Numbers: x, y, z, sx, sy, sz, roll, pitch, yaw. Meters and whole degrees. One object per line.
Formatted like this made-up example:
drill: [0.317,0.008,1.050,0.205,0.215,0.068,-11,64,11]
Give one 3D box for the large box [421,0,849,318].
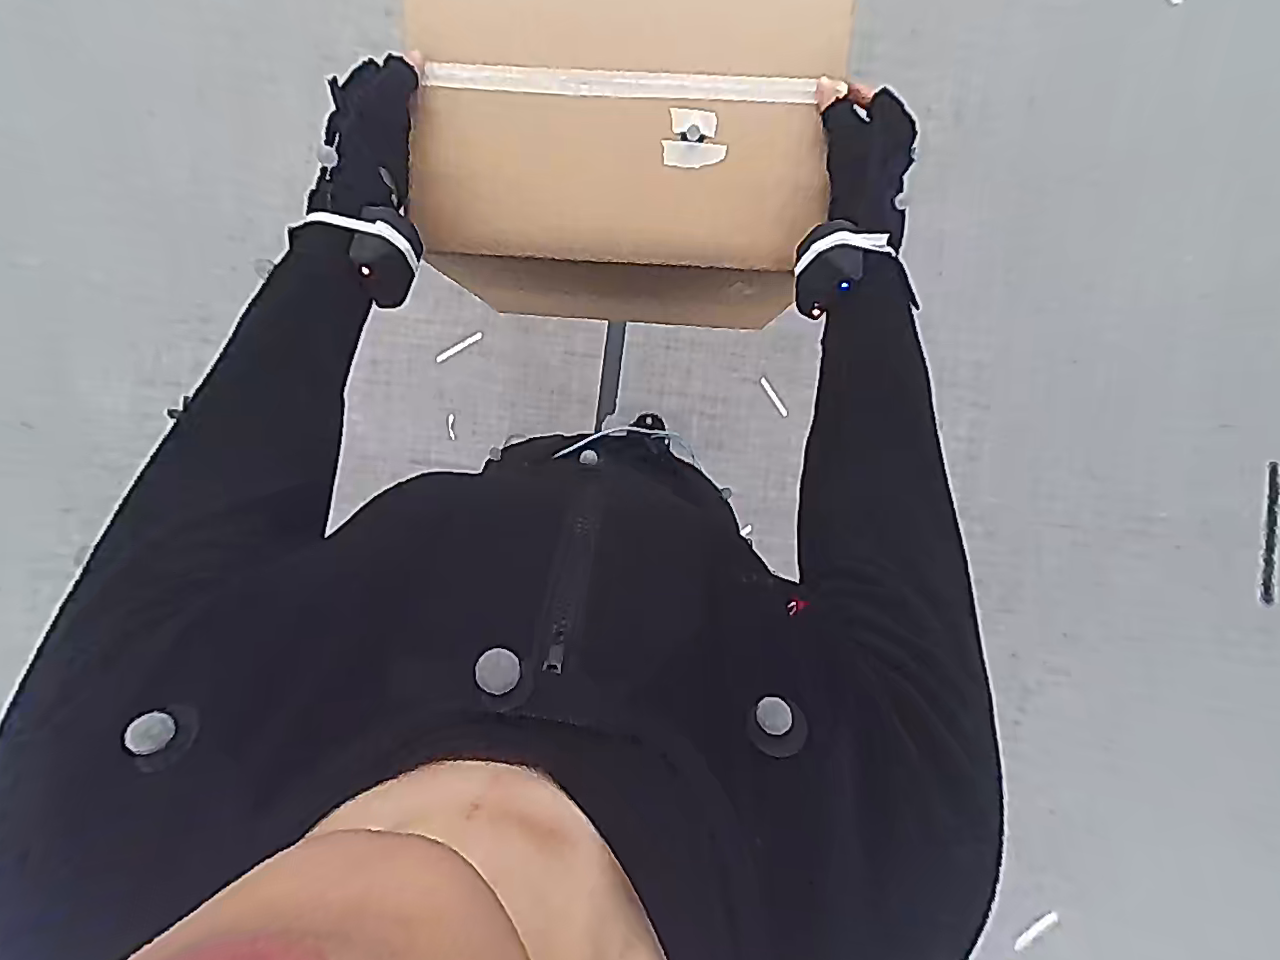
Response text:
large box: [-0.008,-0.388,0.656,0.408,0.320,0.320,3,97,0]
